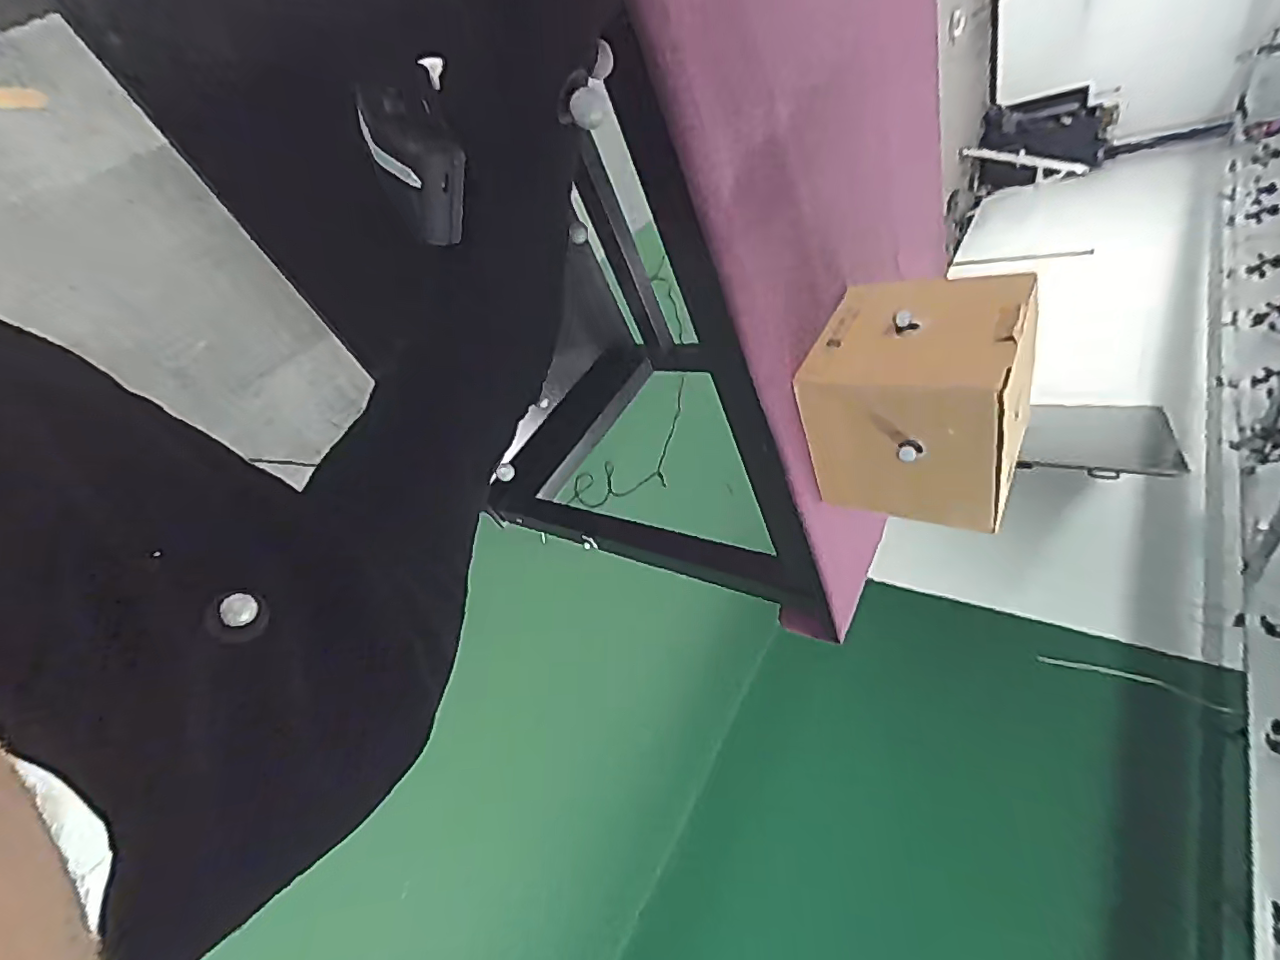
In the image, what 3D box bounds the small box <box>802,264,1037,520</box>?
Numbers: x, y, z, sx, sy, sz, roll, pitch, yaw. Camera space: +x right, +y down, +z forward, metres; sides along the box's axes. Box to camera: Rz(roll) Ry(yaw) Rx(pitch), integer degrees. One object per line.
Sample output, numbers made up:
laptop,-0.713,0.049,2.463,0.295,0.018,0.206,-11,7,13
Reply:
small box,0.278,-0.086,0.541,0.168,0.176,0.179,-54,134,-27
